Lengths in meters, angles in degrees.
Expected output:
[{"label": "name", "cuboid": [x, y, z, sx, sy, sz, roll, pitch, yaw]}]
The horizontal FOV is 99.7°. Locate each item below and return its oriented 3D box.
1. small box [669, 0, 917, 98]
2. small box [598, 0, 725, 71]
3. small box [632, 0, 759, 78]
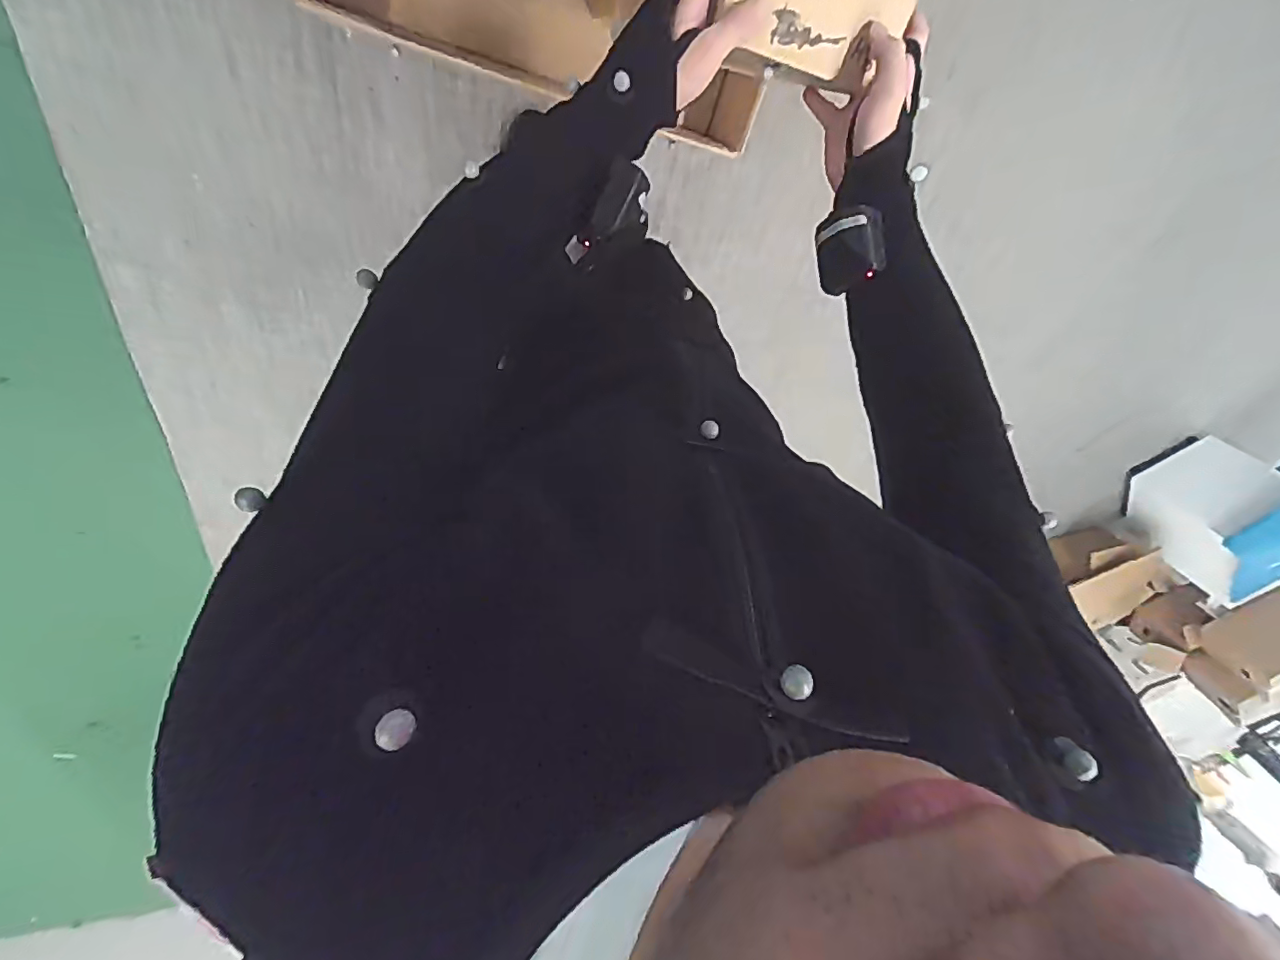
[{"label": "small box", "cuboid": [0.139, -0.468, 0.474, 0.168, 0.176, 0.179, 4, 126, -20]}, {"label": "small box", "cuboid": [0.053, -0.689, 0.726, 0.168, 0.176, 0.179, 6, 127, -24]}, {"label": "small box", "cuboid": [0.099, -0.581, 0.610, 0.168, 0.176, 0.179, 2, 127, -21]}]
